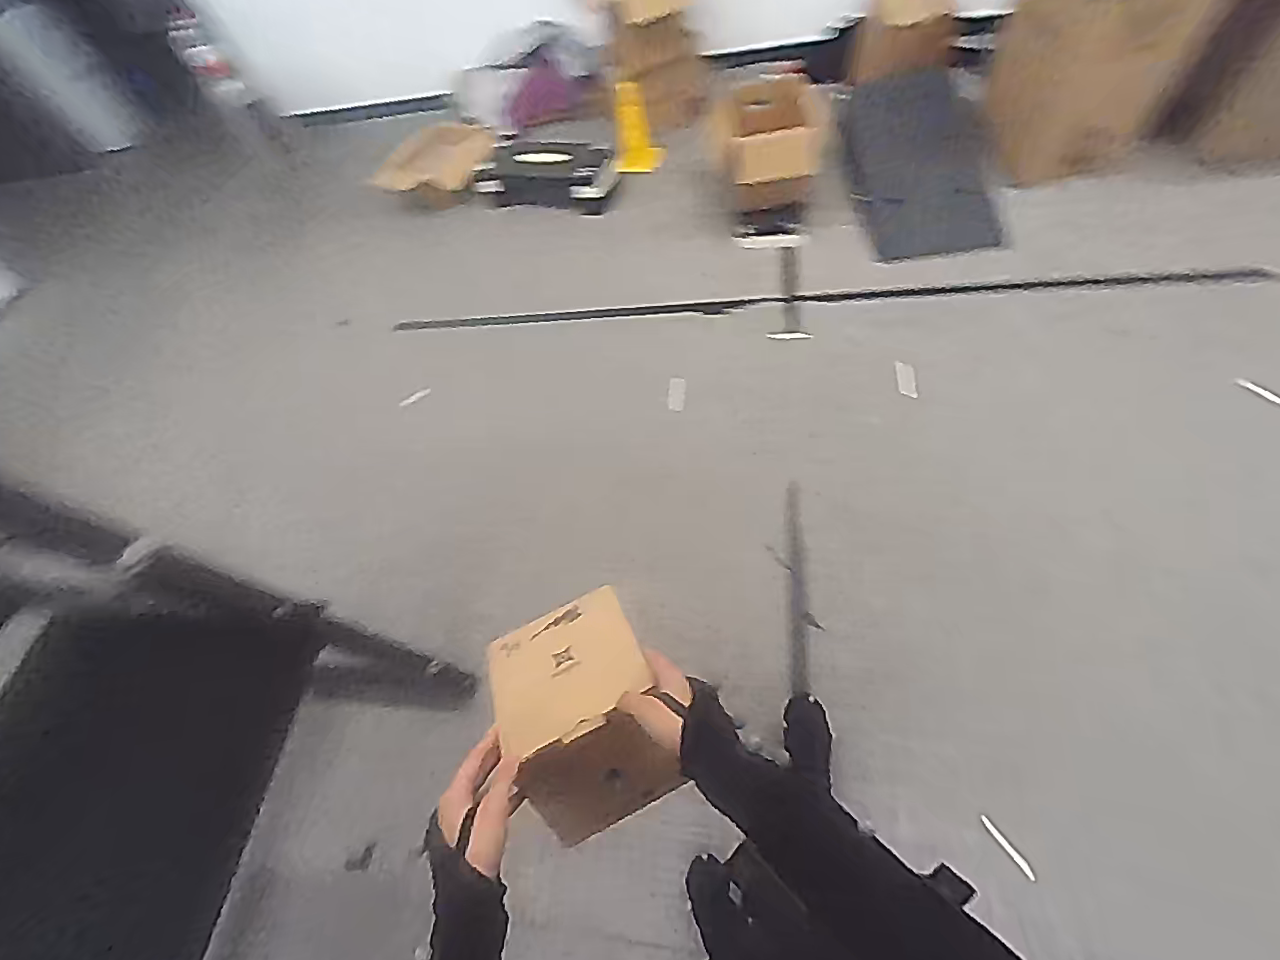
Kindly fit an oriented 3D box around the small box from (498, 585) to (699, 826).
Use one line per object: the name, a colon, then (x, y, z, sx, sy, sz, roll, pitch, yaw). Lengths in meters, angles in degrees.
small box: (-0.048, 0.264, 0.632, 0.168, 0.176, 0.179, -24, 32, -7)
